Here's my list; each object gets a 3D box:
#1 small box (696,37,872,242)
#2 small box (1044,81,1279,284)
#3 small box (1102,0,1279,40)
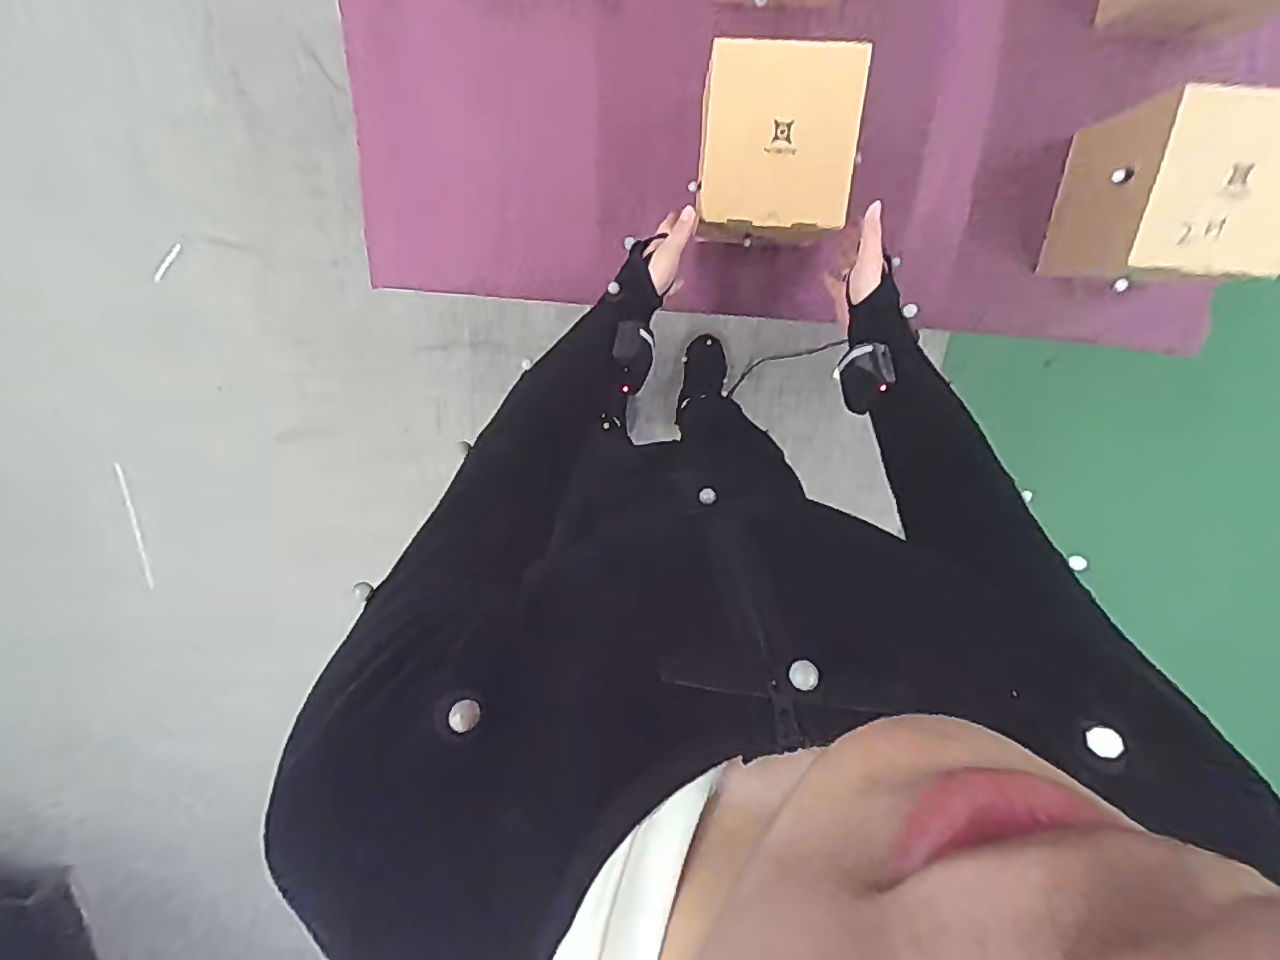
[{"bbox_3d":[0.159,-0.398,0.662,0.168,0.176,0.179,4,109,2],"label":"small box"},{"bbox_3d":[0.632,-0.337,0.645,0.168,0.176,0.179,6,108,3],"label":"small box"},{"bbox_3d":[0.637,-0.601,0.559,0.168,0.176,0.179,4,109,3],"label":"small box"}]
